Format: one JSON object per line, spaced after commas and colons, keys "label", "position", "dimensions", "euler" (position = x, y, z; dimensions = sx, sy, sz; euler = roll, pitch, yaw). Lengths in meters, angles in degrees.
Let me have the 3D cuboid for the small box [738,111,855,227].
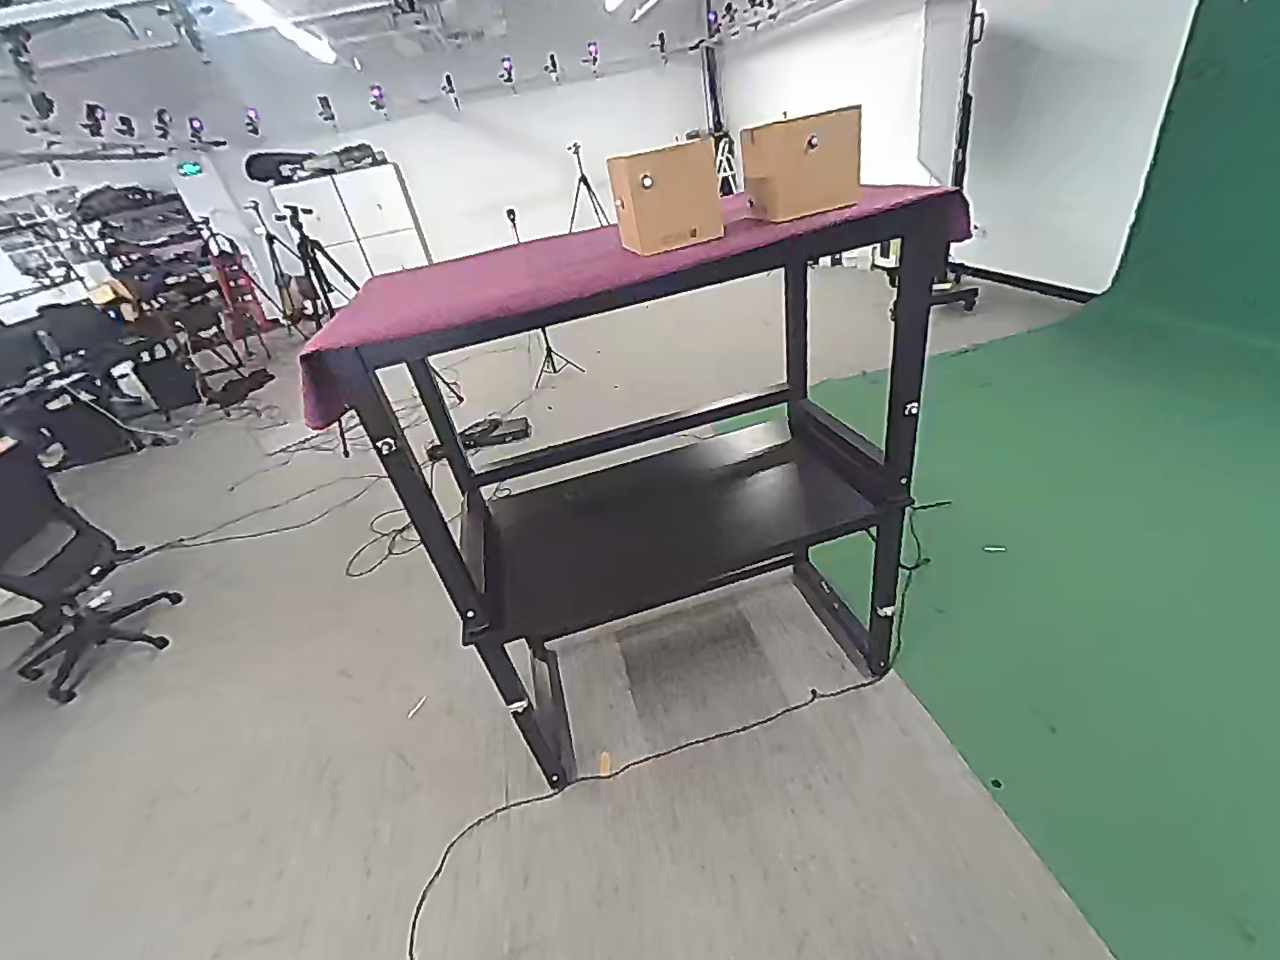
{"label": "small box", "position": [0.316, -0.625, 1.098], "dimensions": [0.179, 0.176, 0.168], "euler": [-16, 32, -6]}
